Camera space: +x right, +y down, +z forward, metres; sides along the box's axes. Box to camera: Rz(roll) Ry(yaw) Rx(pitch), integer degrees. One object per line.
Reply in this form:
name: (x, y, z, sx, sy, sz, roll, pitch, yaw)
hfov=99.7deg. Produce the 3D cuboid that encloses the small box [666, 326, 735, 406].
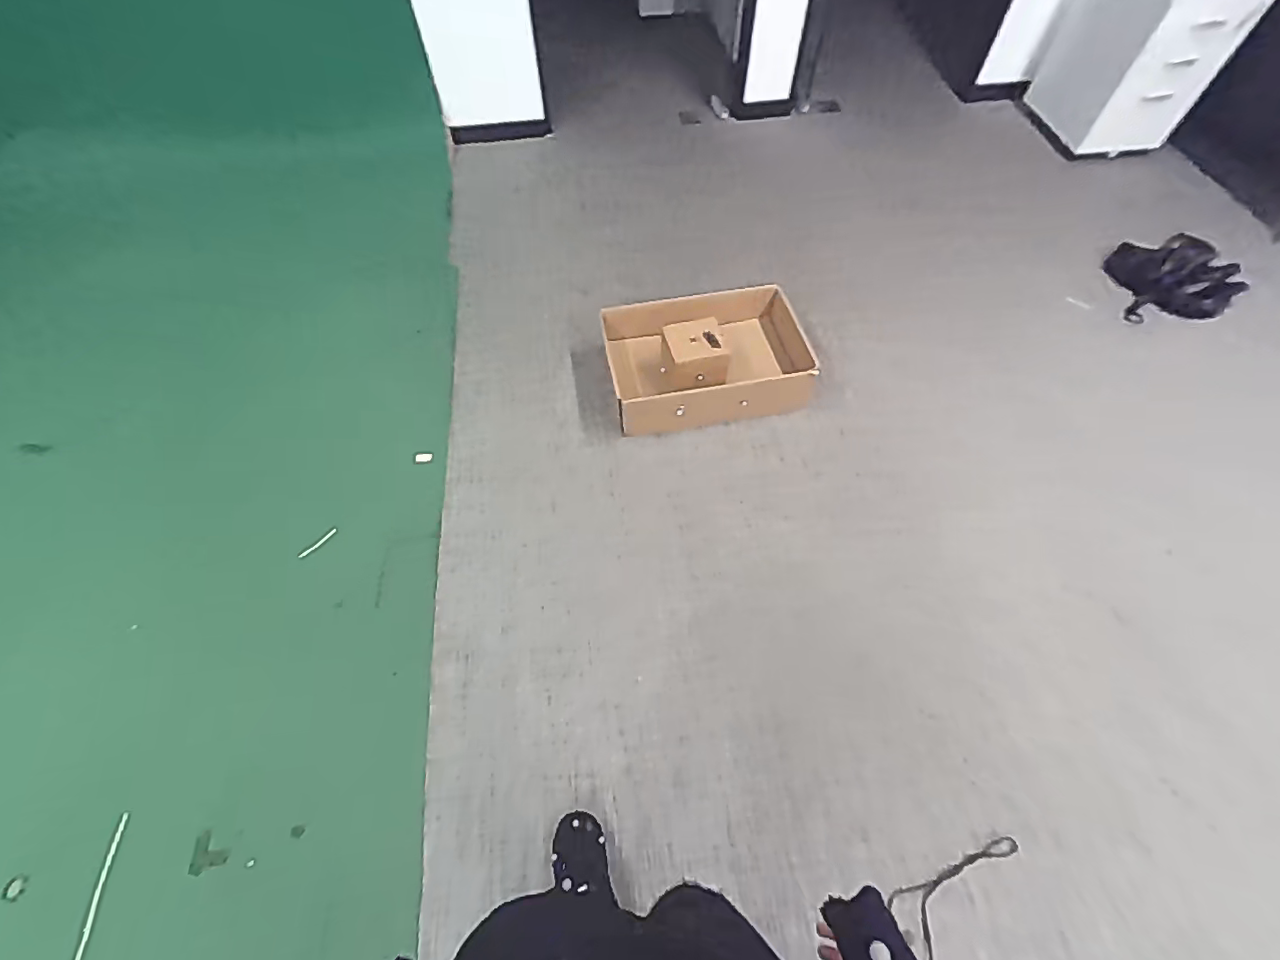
small box: (0.186, -0.357, 1.710, 0.179, 0.176, 0.168, -11, 58, -5)
